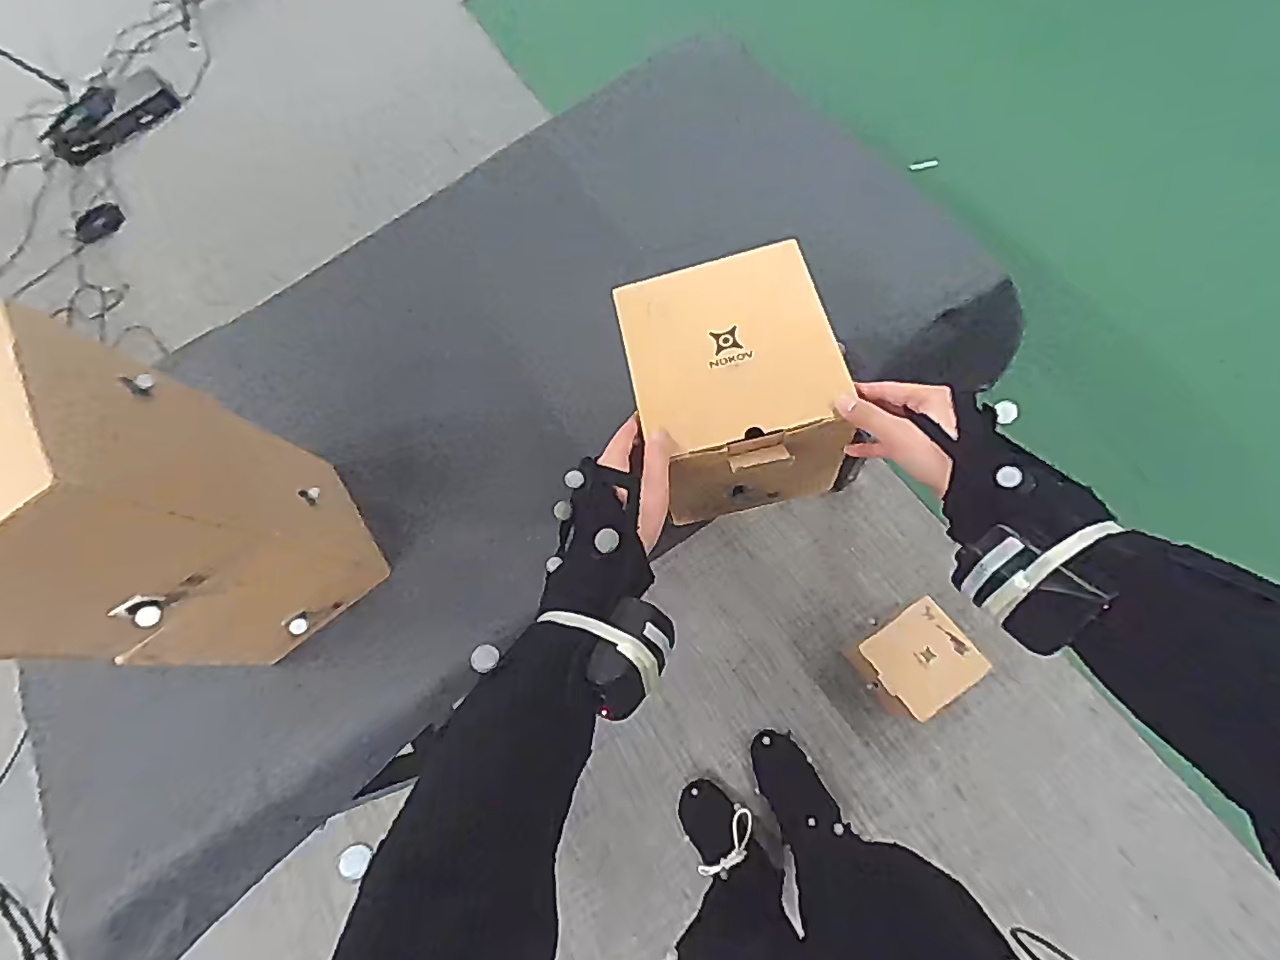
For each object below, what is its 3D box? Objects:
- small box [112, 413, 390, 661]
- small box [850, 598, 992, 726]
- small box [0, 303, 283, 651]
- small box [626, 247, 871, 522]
[{"bbox_3d":[-0.403,0.070,0.560,0.168,0.176,0.179,-38,69,-5],"label":"small box"},{"bbox_3d":[0.542,0.362,1.076,0.179,0.176,0.168,-36,68,-4],"label":"small box"},{"bbox_3d":[-0.425,0.013,0.410,0.168,0.176,0.179,-38,70,-3],"label":"small box"},{"bbox_3d":[0.092,-0.078,0.514,0.168,0.176,0.179,-14,68,5],"label":"small box"}]
